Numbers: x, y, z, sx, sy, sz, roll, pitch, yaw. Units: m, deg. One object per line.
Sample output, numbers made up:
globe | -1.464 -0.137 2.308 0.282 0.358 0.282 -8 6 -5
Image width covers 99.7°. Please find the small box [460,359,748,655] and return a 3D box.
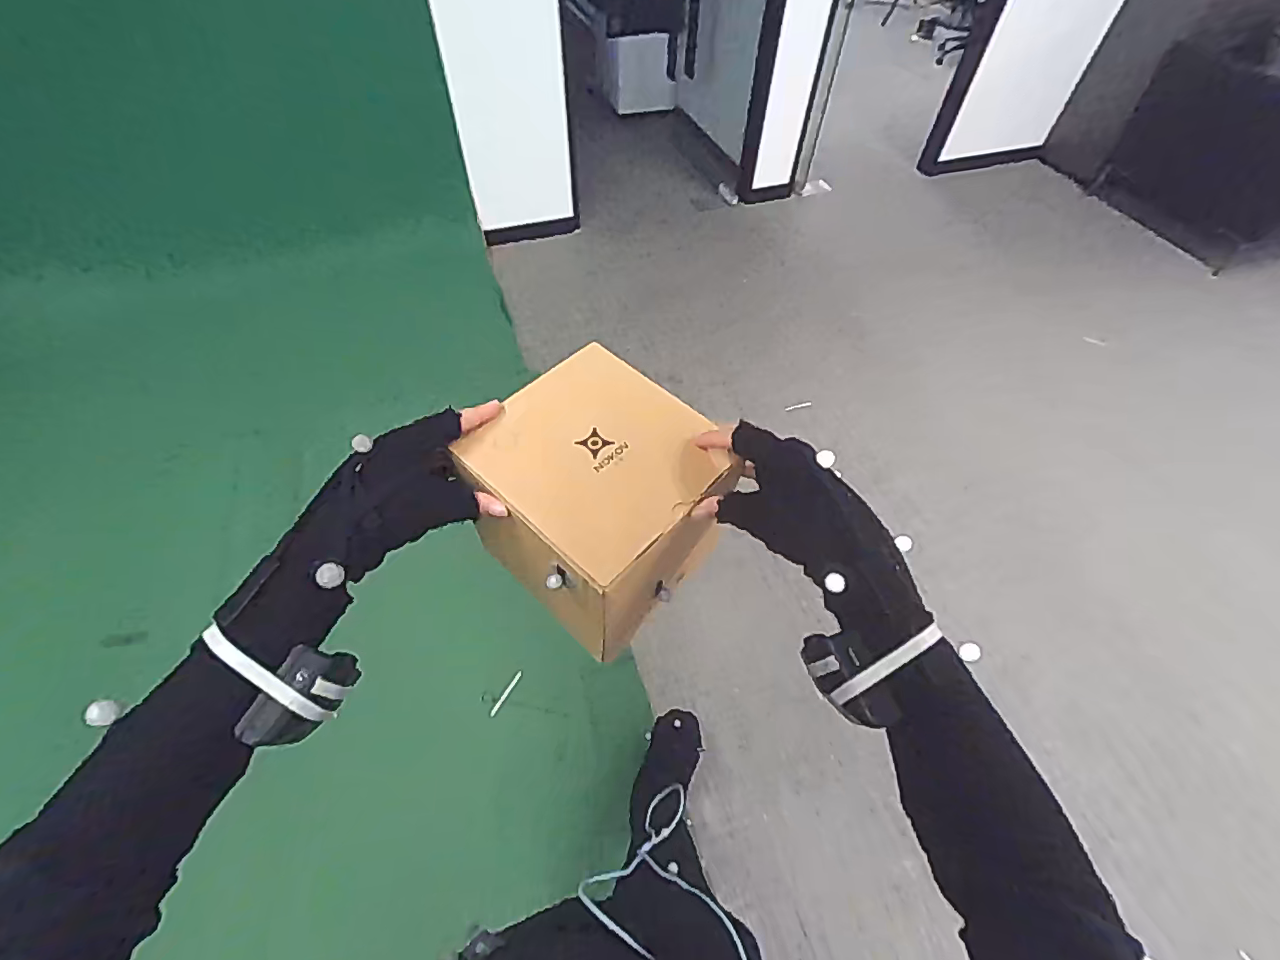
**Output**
small box | -0.034 0.029 0.497 0.179 0.176 0.168 39 60 20
